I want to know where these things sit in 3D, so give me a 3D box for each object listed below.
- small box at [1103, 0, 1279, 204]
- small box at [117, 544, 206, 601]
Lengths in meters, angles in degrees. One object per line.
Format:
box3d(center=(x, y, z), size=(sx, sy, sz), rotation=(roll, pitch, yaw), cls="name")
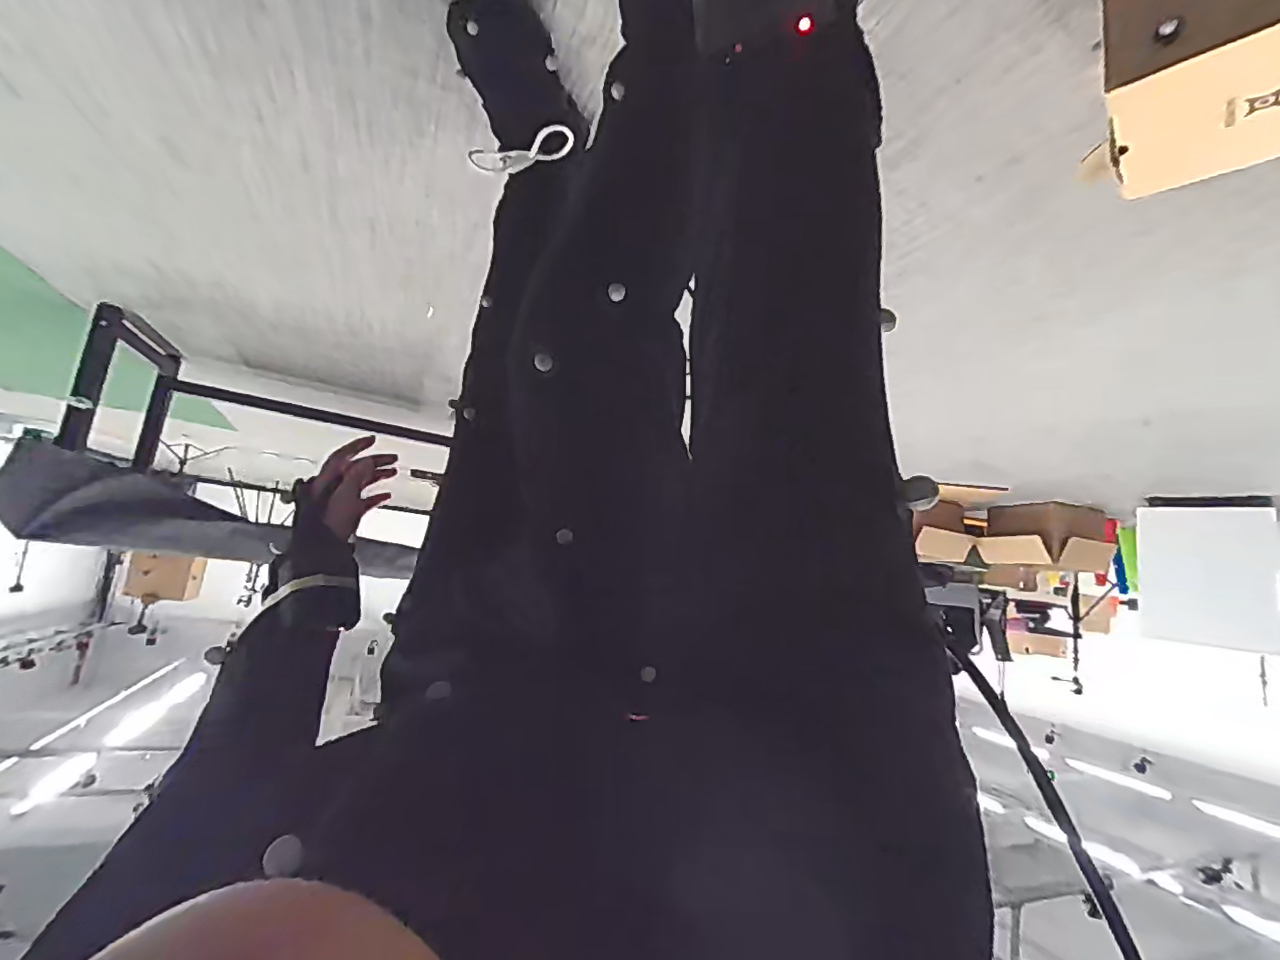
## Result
box3d(center=(0.506, -0.378, 0.448), size=(0.168, 0.176, 0.179), rotation=(16, 168, -43), cls="small box")
box3d(center=(-1.623, 0.312, 1.844), size=(0.168, 0.176, 0.179), rotation=(12, 171, -23), cls="small box")
